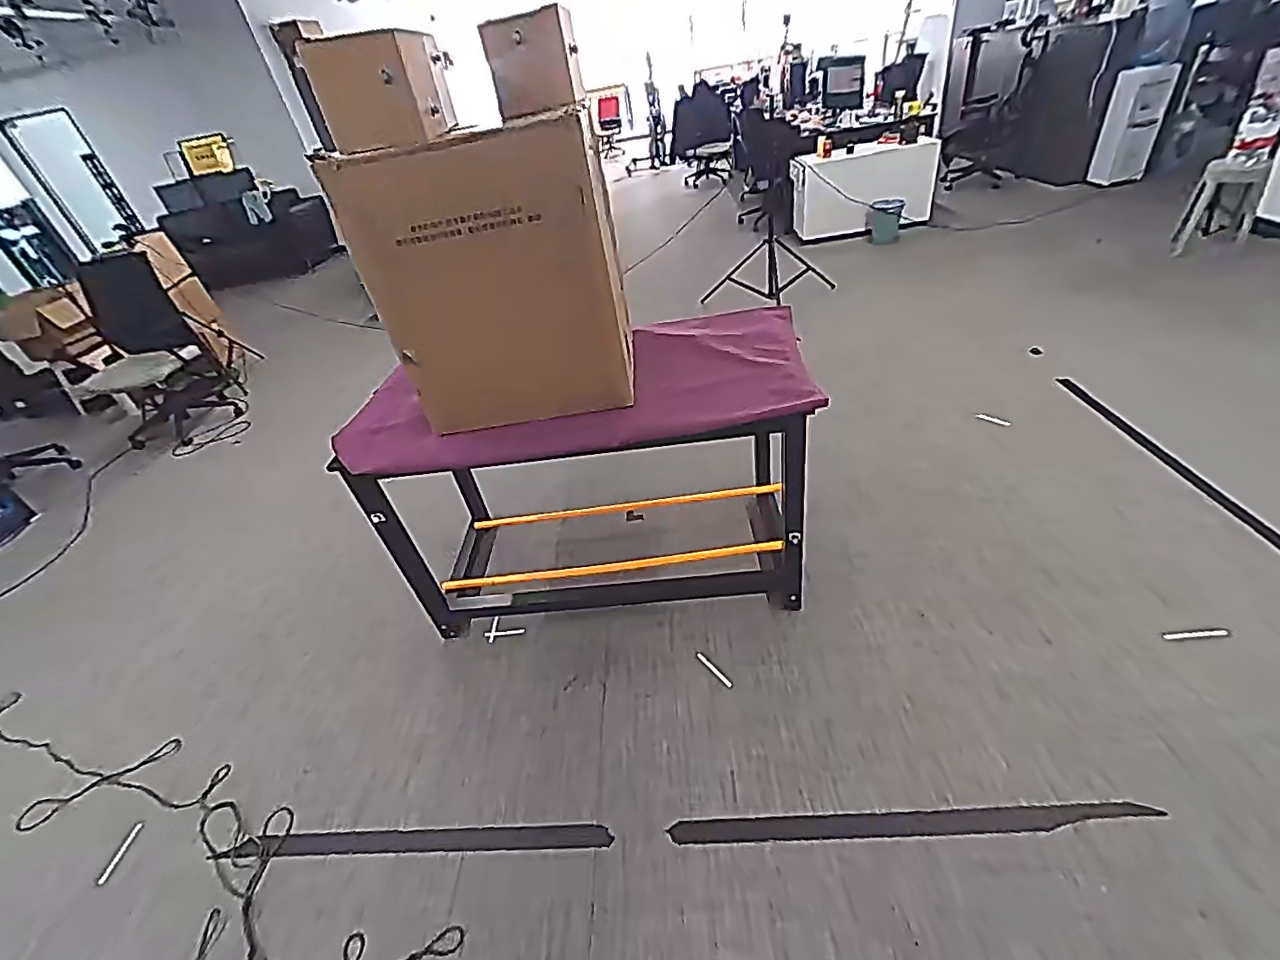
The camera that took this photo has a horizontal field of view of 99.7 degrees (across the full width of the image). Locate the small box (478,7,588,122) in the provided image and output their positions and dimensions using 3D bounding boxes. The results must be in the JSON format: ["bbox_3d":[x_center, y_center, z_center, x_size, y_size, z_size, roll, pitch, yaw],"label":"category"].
[{"bbox_3d":[-0.222,-0.905,1.183,0.179,0.176,0.168,-6,37,10],"label":"small box"}]
